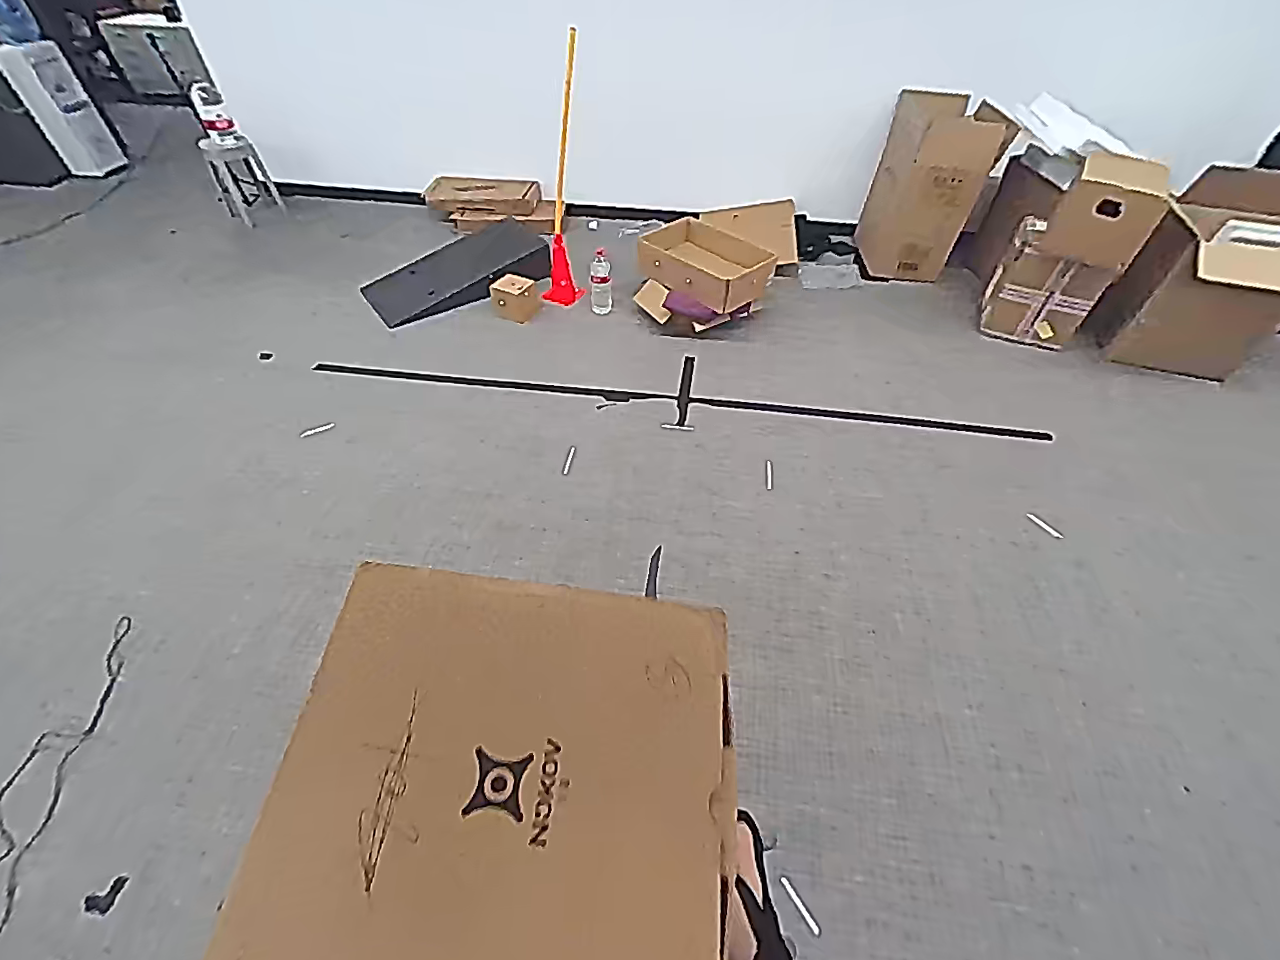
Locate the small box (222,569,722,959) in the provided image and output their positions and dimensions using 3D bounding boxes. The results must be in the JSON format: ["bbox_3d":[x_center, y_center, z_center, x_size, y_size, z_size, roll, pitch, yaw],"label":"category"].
[{"bbox_3d":[-0.061,0.165,0.292,0.179,0.176,0.168,7,56,-3],"label":"small box"}]
